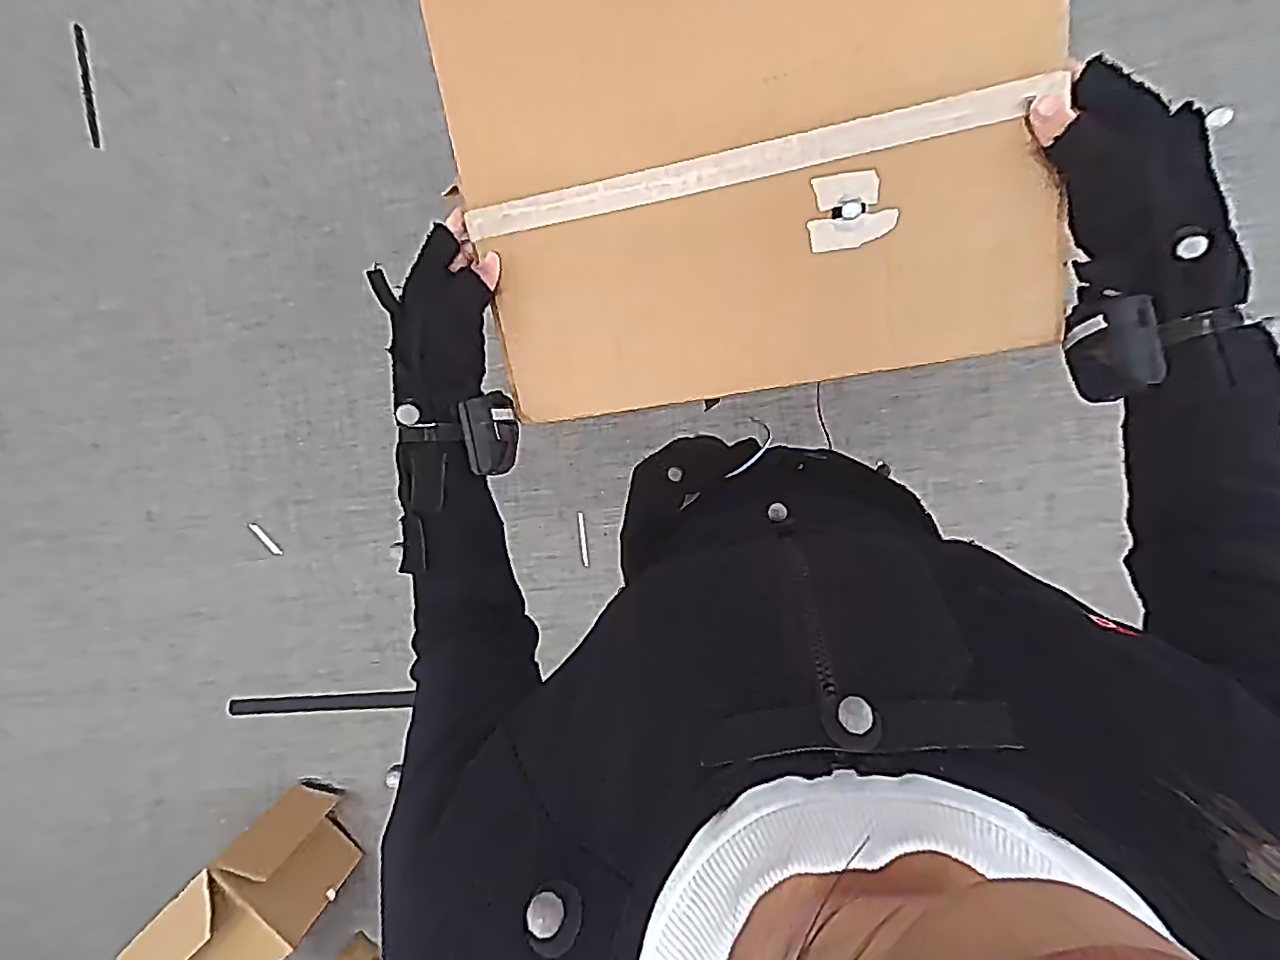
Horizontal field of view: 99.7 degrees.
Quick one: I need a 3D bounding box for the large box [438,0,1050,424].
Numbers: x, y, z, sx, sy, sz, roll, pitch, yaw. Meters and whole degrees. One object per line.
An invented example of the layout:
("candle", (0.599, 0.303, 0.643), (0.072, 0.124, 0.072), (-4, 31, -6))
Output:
("large box", (0.091, -0.261, 0.530), (0.408, 0.320, 0.320), (-9, 105, 9))
